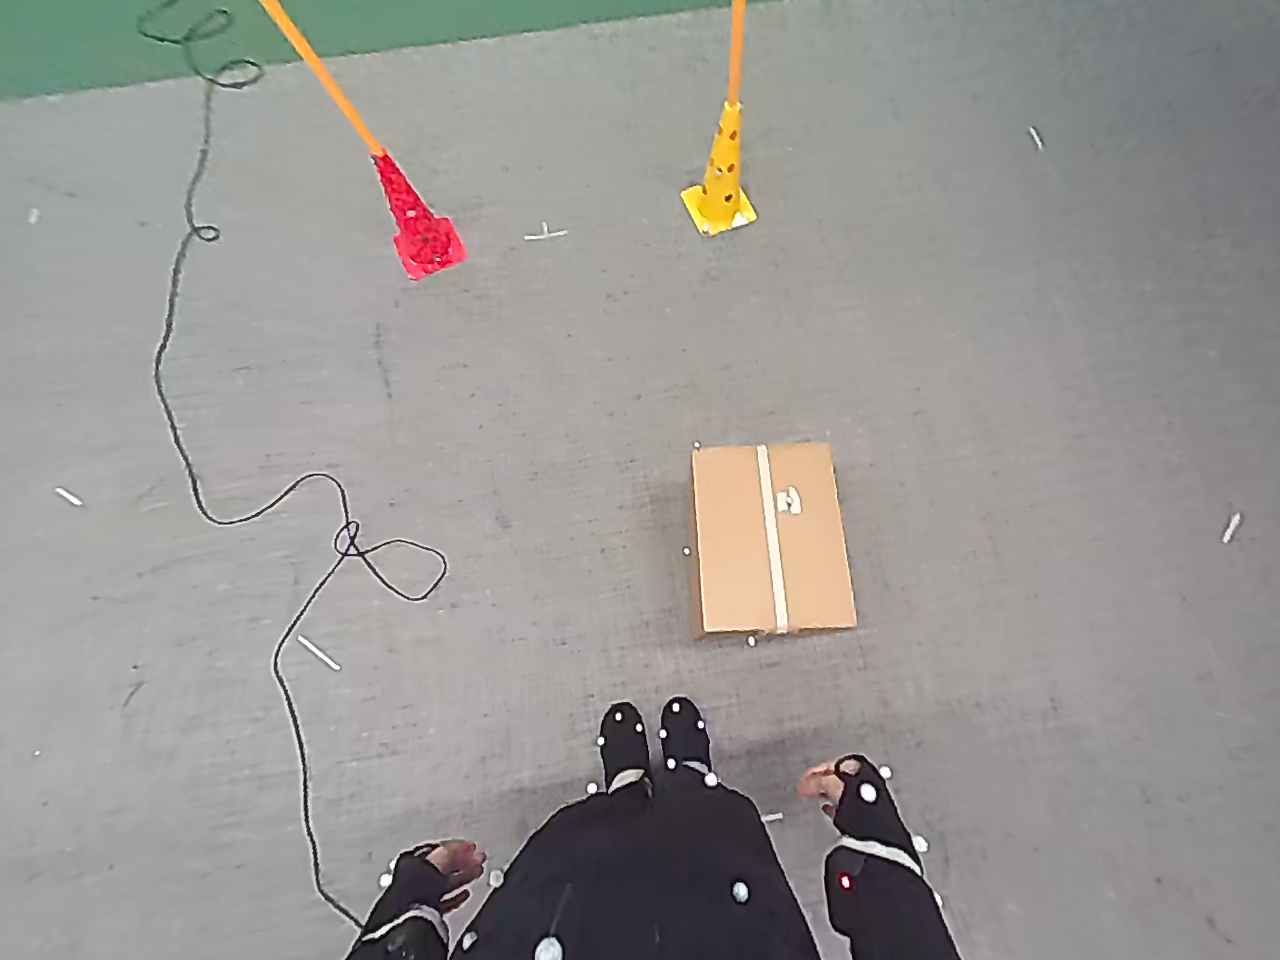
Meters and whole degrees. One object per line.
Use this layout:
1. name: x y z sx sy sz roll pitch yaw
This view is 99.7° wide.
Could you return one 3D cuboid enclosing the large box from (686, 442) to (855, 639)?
1. large box: 0.281 0.159 1.304 0.320 0.320 0.408 -2 70 0
